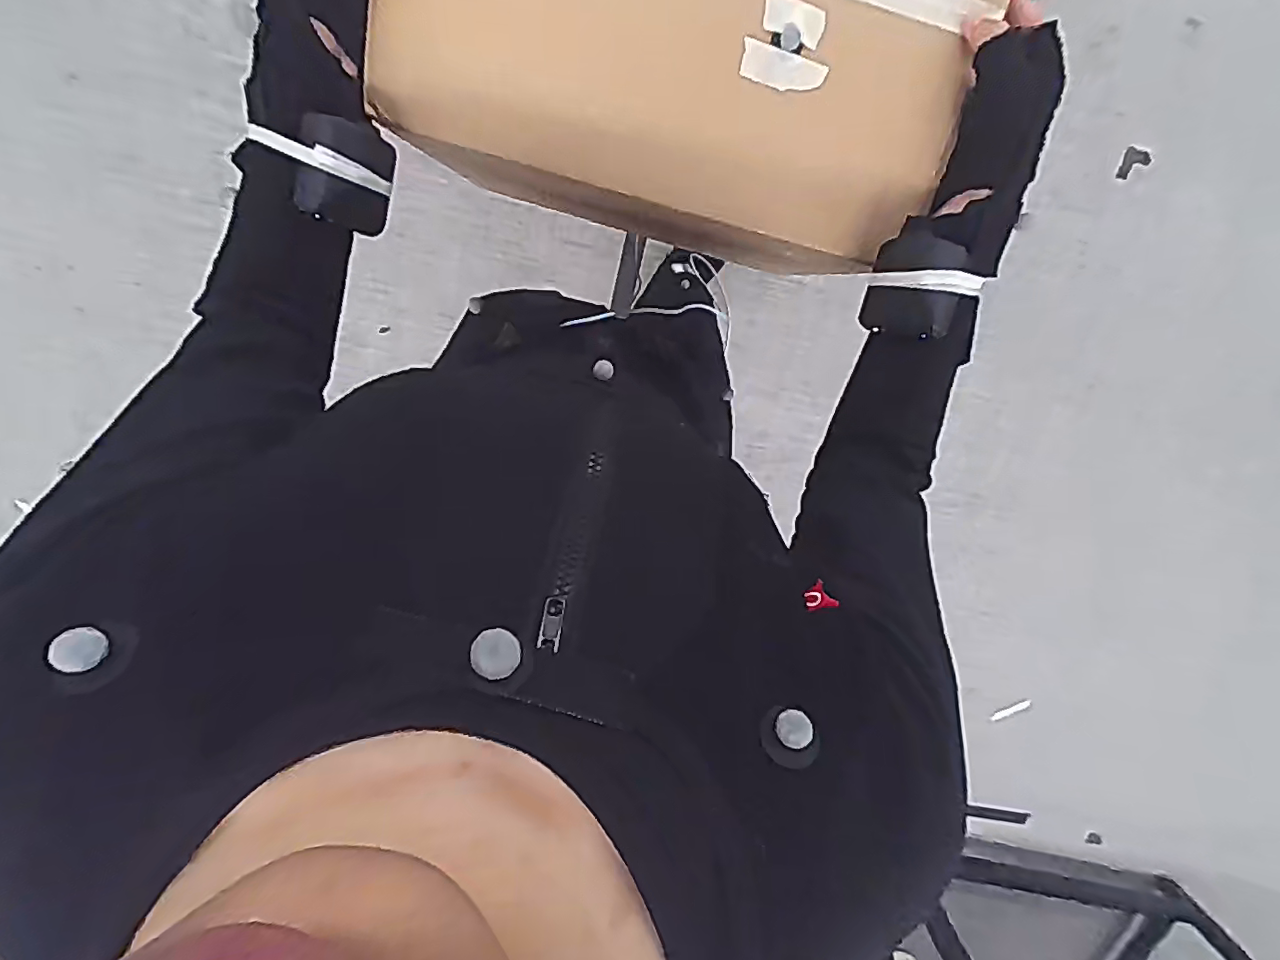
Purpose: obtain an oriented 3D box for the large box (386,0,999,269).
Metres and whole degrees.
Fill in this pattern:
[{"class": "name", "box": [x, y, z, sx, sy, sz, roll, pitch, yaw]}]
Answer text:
[{"class": "large box", "box": [0.038, -0.401, 0.492, 0.408, 0.320, 0.320, 12, 110, -8]}]
